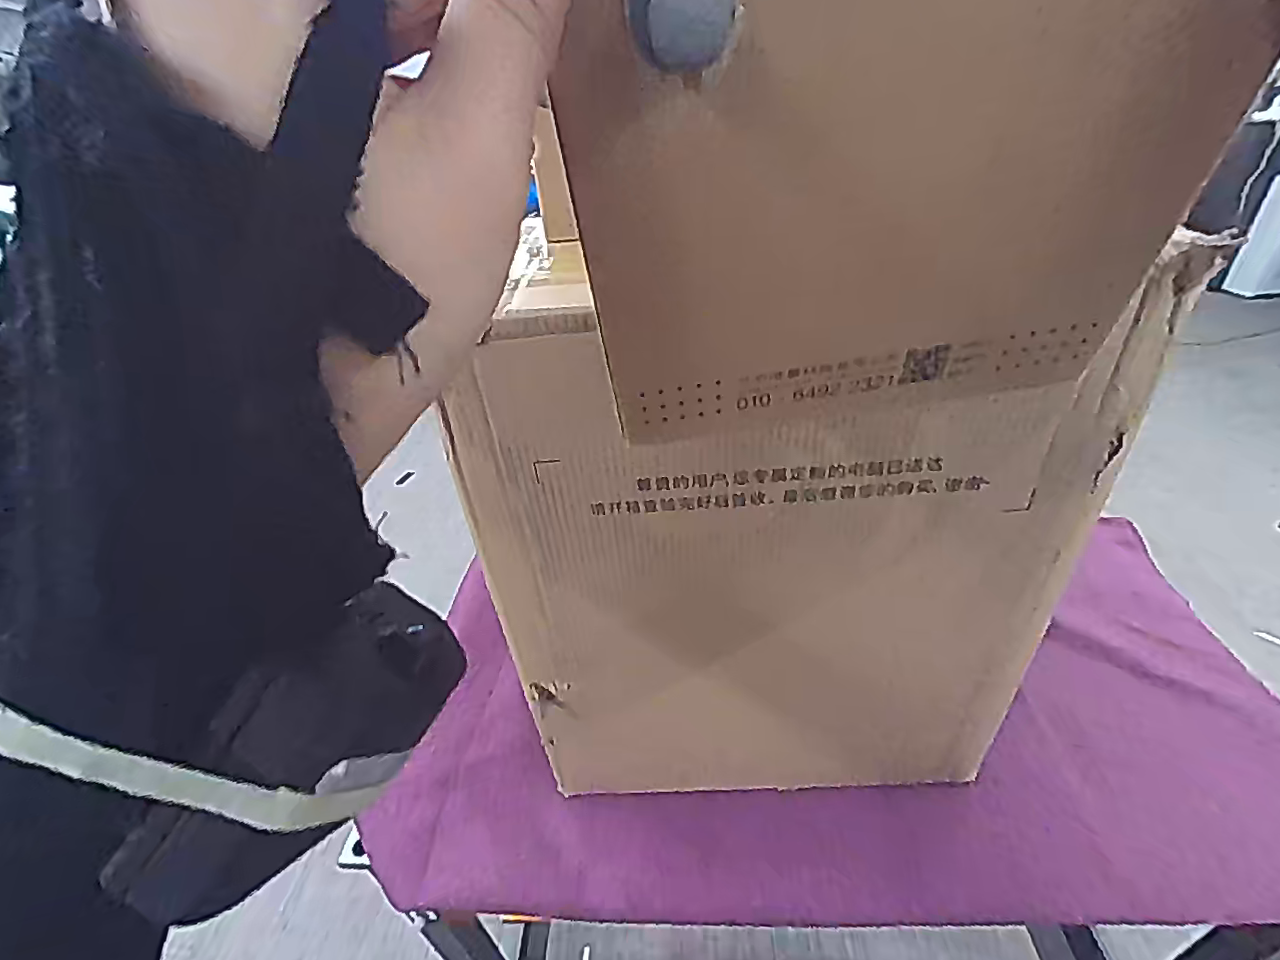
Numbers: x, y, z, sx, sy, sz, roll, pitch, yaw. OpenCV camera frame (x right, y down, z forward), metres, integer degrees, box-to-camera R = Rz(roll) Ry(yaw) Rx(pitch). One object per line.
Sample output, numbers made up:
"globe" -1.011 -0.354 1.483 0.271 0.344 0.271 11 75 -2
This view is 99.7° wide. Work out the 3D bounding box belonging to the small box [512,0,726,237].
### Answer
"small box" -0.012 -0.347 0.538 0.179 0.176 0.168 -4 34 1
